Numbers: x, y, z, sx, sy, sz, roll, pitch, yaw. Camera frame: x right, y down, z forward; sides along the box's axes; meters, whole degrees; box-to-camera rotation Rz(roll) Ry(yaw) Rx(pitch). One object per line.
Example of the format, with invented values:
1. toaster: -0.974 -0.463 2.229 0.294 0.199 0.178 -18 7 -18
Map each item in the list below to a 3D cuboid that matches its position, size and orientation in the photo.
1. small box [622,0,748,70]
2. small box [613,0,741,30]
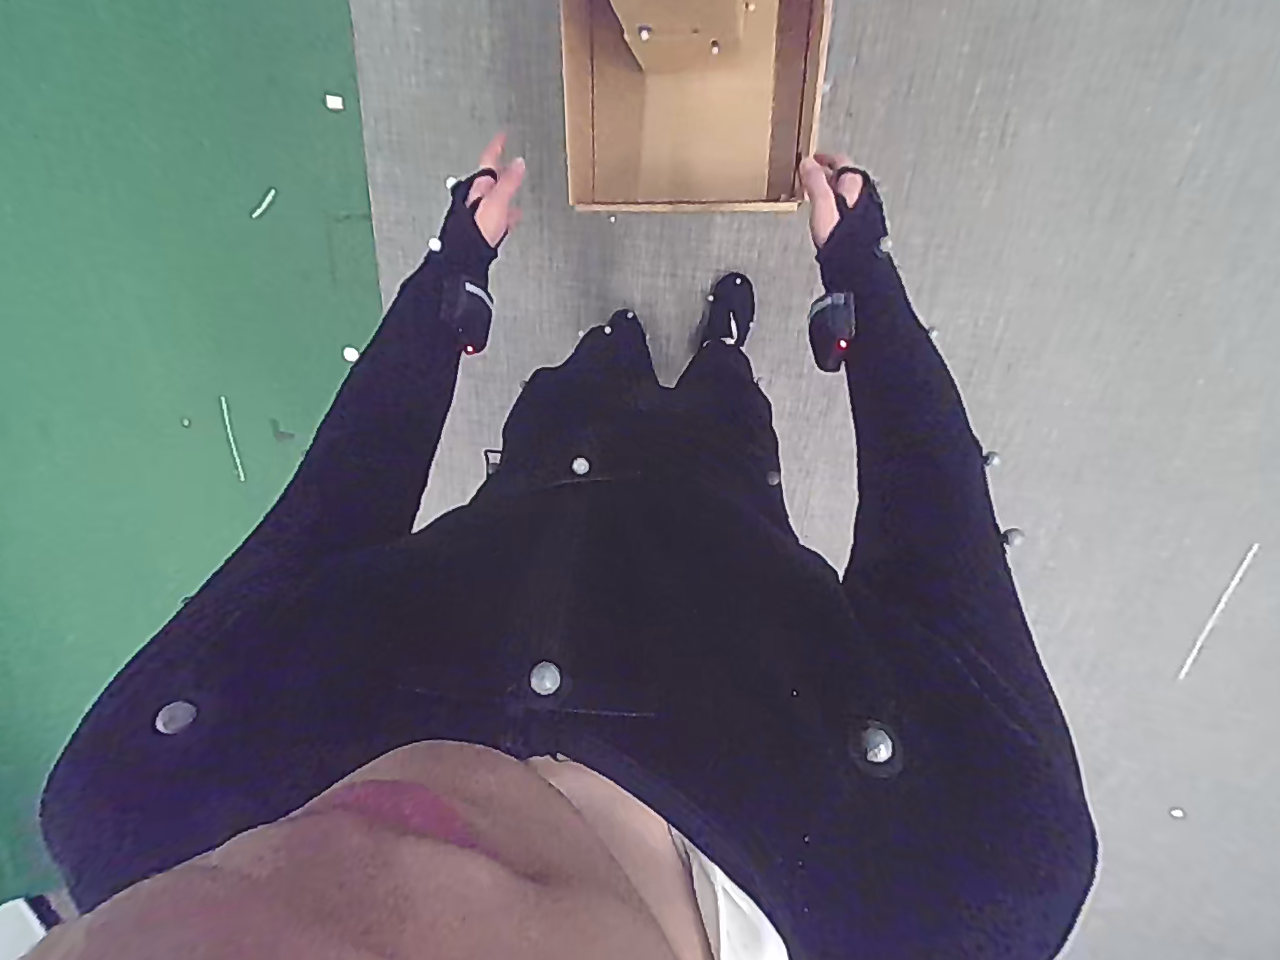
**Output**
1. small box: 0.074 -0.747 0.821 0.179 0.176 0.168 4 112 8
2. small box: 0.050 -0.691 0.668 0.168 0.176 0.179 6 112 7
